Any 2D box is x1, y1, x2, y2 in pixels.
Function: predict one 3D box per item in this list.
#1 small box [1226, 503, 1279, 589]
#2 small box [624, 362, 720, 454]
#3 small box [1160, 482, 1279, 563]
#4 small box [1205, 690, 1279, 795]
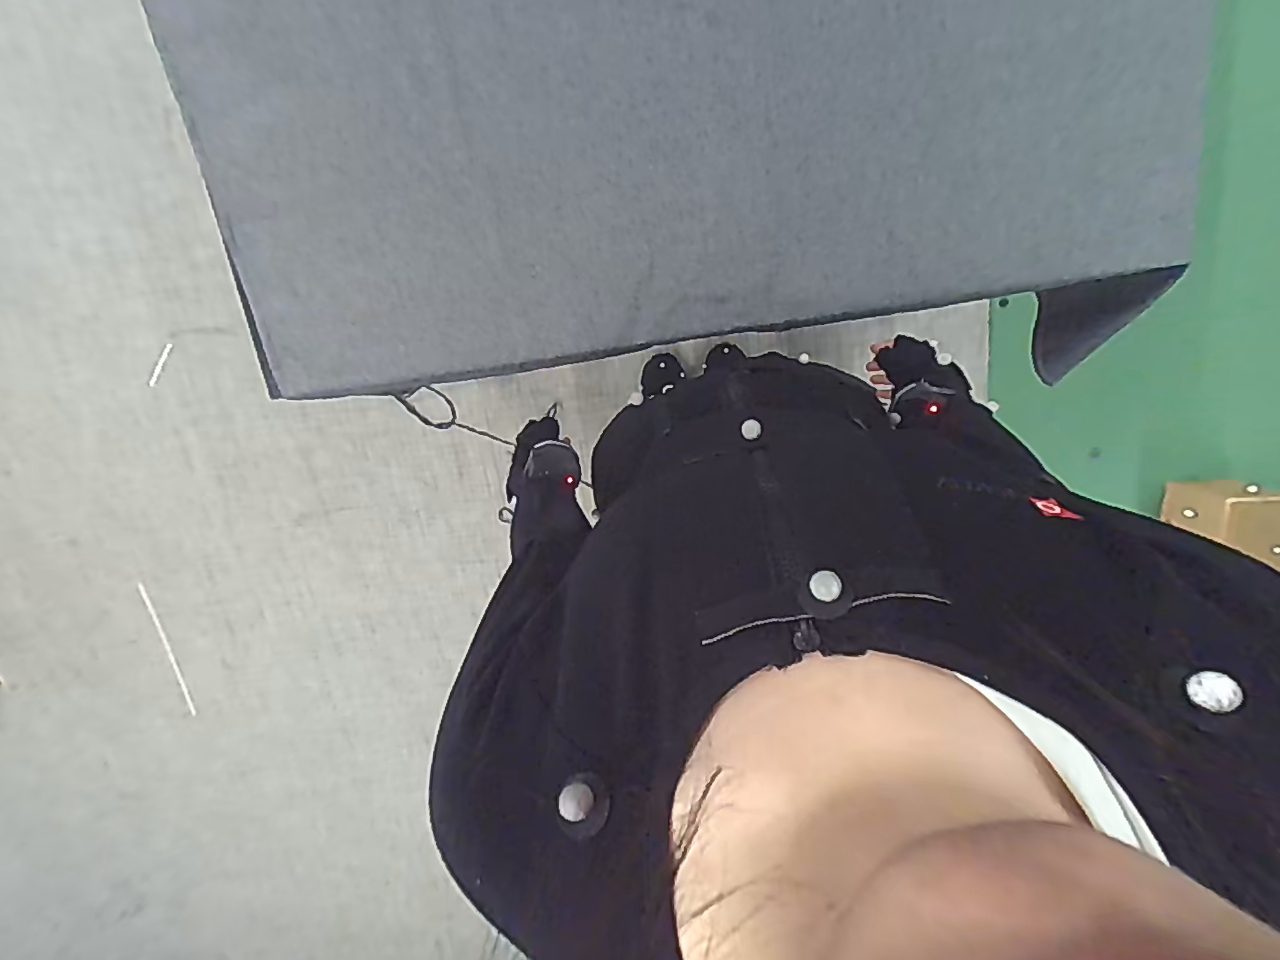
[{"bbox_3d":[1.491,0.151,1.214,0.168,0.176,0.179,-3,103,3],"label":"small box"},{"bbox_3d":[0.078,-0.190,1.389,0.179,0.176,0.168,34,115,12],"label":"small box"},{"bbox_3d":[1.487,0.105,1.373,0.179,0.176,0.168,-2,103,3],"label":"small box"},{"bbox_3d":[1.573,0.640,1.332,0.179,0.176,0.168,-5,104,4],"label":"small box"}]
